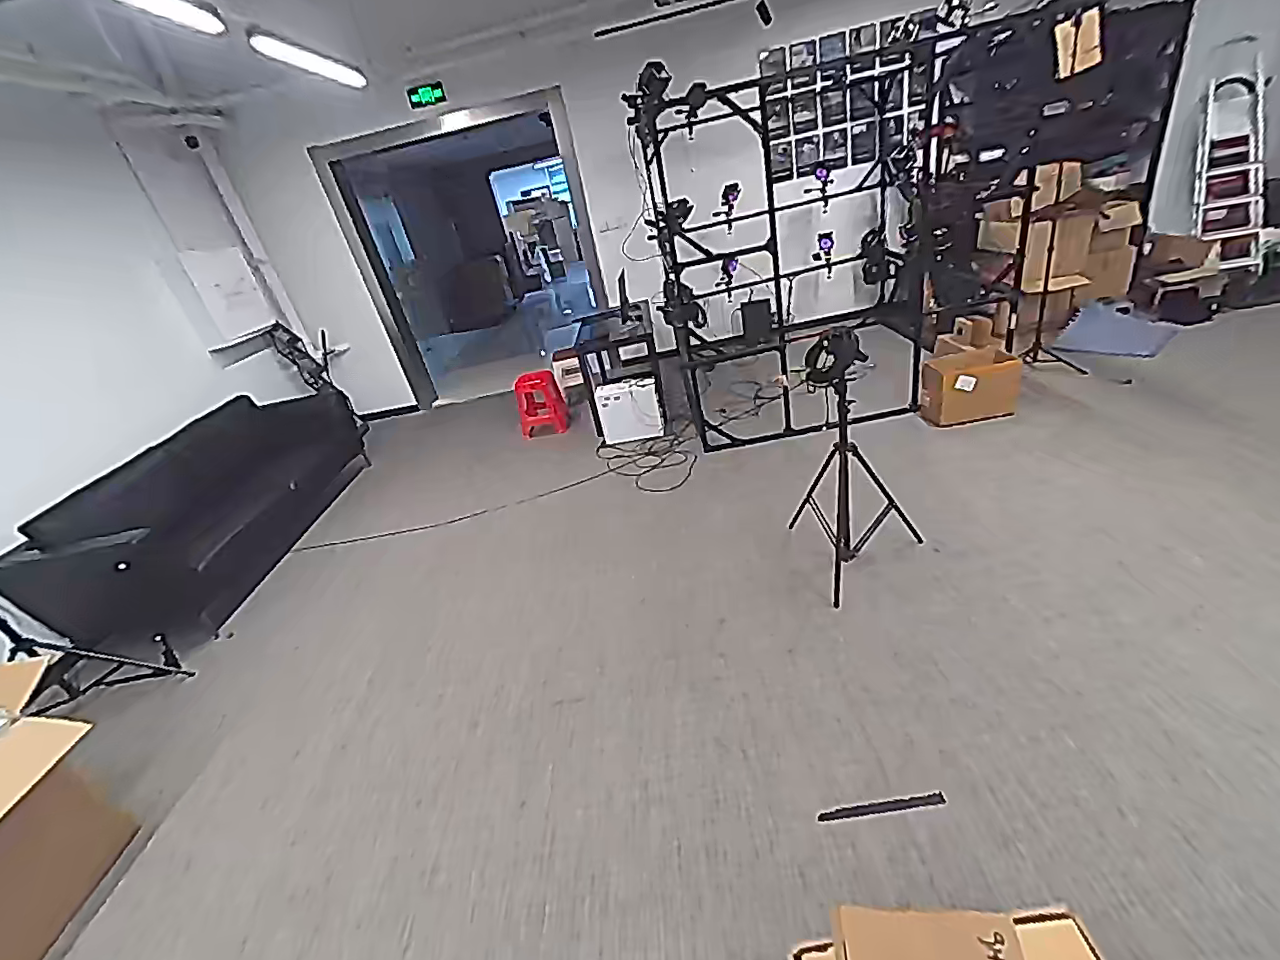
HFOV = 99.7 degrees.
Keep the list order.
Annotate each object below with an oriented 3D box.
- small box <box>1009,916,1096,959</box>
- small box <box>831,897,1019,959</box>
[{"bbox_3d":[0.824,1.022,1.084,0.168,0.176,0.179,-12,31,5],"label":"small box"},{"bbox_3d":[0.311,0.570,0.589,0.179,0.176,0.168,-6,49,12],"label":"small box"}]
